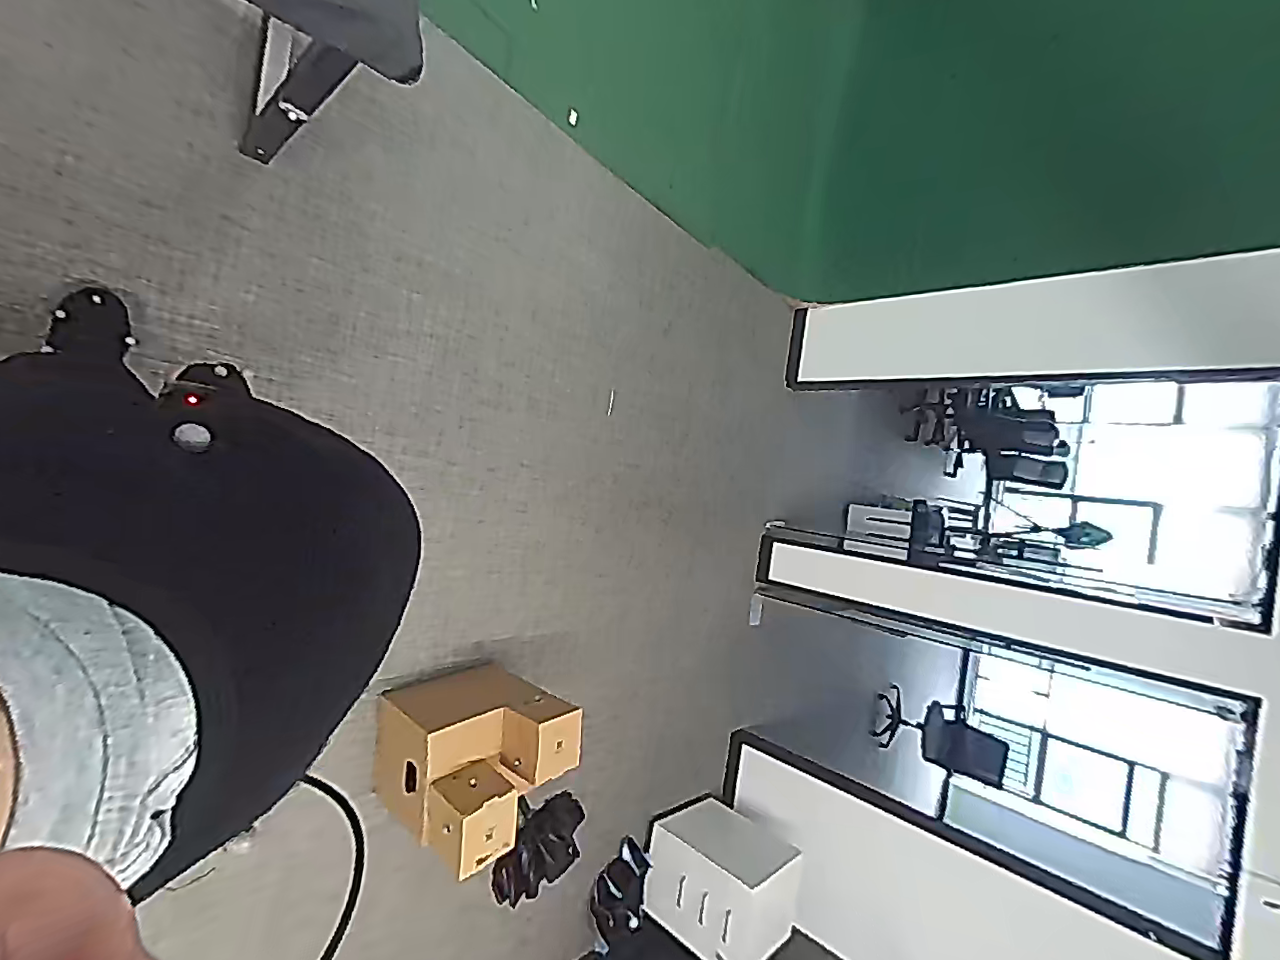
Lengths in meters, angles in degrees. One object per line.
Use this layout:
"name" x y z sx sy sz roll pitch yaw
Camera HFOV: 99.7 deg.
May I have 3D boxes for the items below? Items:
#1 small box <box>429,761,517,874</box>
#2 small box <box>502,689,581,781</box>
"small box" -0.448 0.887 1.449 0.168 0.176 0.179 -3 99 -48
"small box" -0.295 0.748 1.605 0.168 0.176 0.179 2 90 -50
